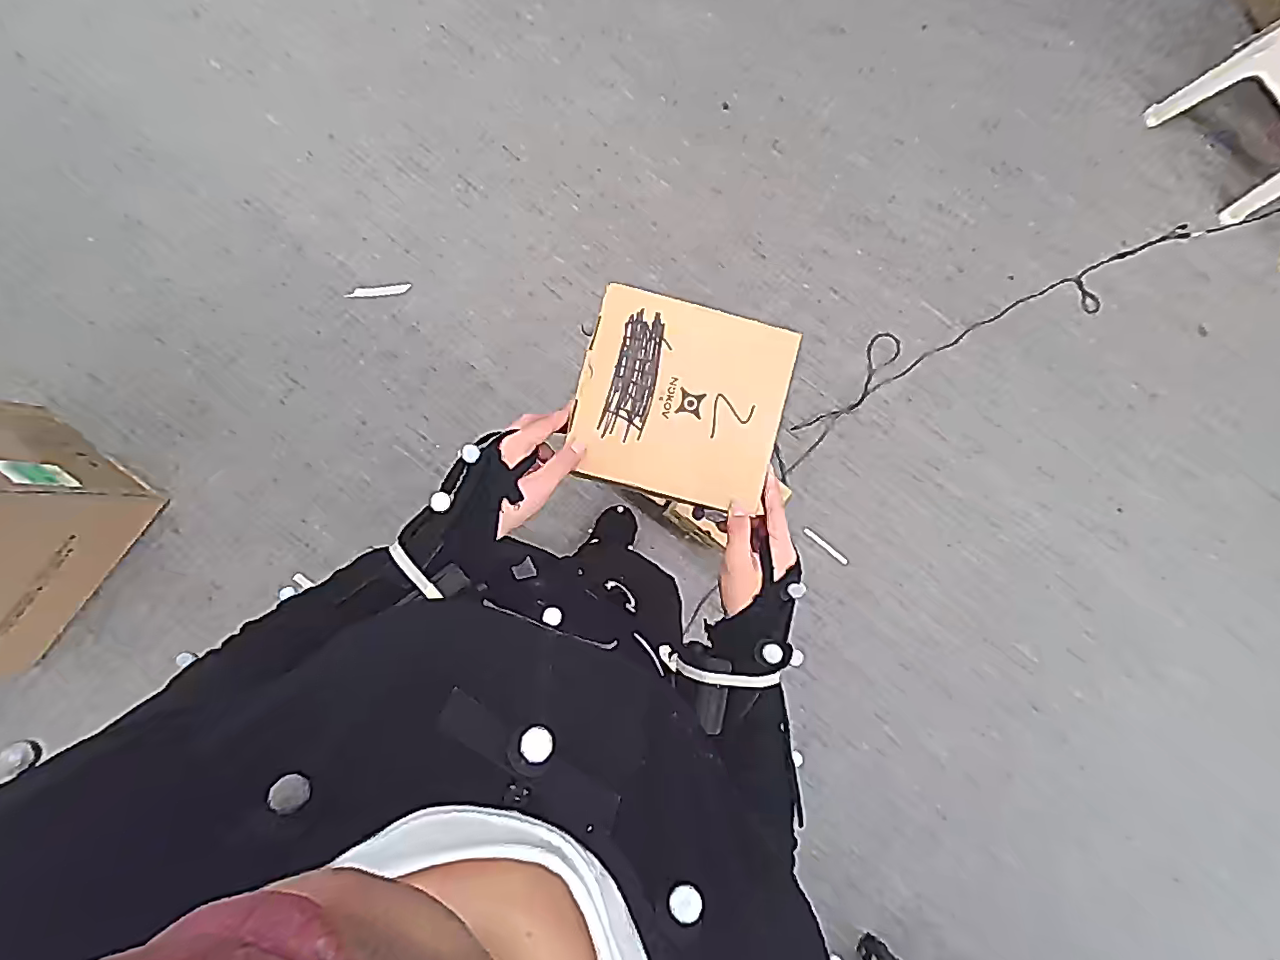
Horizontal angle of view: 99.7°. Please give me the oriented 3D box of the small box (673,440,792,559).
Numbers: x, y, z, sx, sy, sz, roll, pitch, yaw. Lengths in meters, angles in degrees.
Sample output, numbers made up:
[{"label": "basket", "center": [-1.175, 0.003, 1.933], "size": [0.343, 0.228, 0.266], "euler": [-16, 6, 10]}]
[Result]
[{"label": "small box", "center": [0.182, 0.043, 1.132], "size": [0.168, 0.176, 0.179], "euler": [39, 86, 0]}]
